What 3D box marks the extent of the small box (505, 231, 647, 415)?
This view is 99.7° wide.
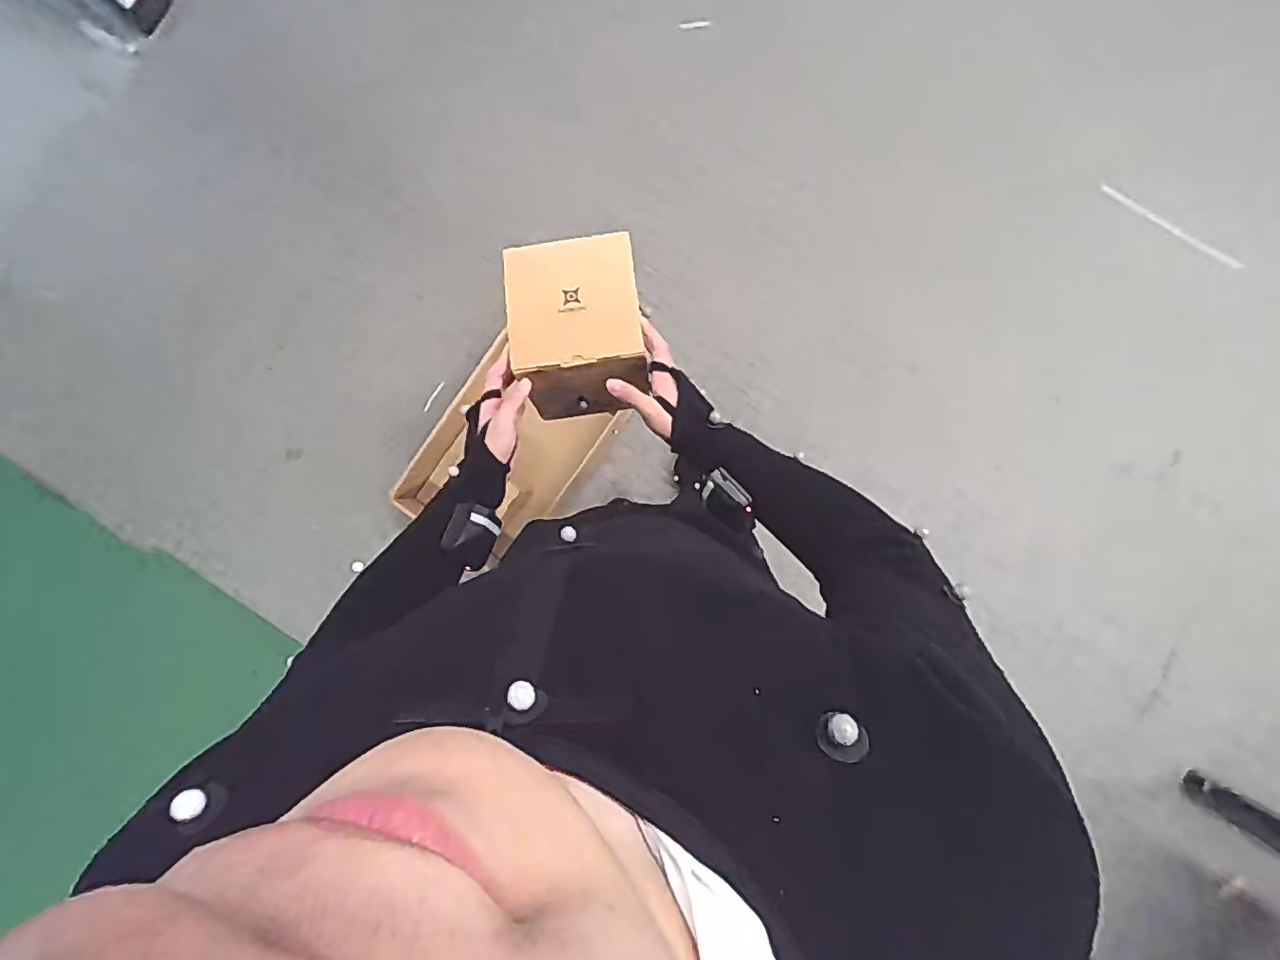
[{"bbox_3d":[-0.081,-0.207,0.746,0.168,0.176,0.179,-7,77,1],"label":"small box"}]
